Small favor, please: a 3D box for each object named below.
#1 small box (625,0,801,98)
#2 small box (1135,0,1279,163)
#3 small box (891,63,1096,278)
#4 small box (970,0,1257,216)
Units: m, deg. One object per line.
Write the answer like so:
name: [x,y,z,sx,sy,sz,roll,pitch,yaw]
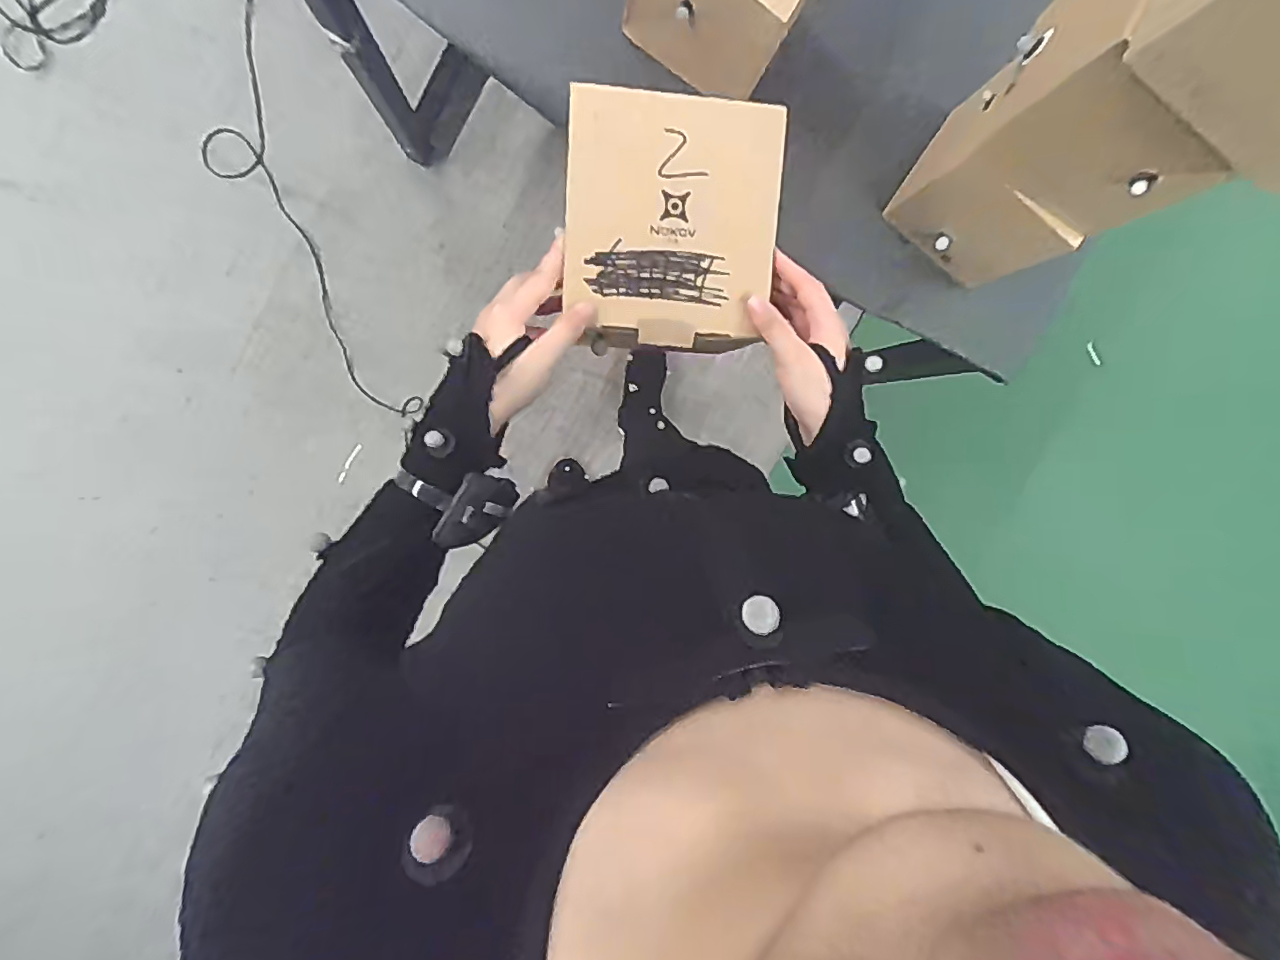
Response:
small box: [0.097,-0.576,0.593,0.179,0.176,0.168,31,91,-8]
small box: [0.479,-0.335,0.329,0.179,0.176,0.168,32,88,-8]
small box: [0.446,-0.380,0.652,0.168,0.176,0.179,35,90,-8]
small box: [0.457,-0.373,0.490,0.179,0.176,0.168,27,89,-7]
